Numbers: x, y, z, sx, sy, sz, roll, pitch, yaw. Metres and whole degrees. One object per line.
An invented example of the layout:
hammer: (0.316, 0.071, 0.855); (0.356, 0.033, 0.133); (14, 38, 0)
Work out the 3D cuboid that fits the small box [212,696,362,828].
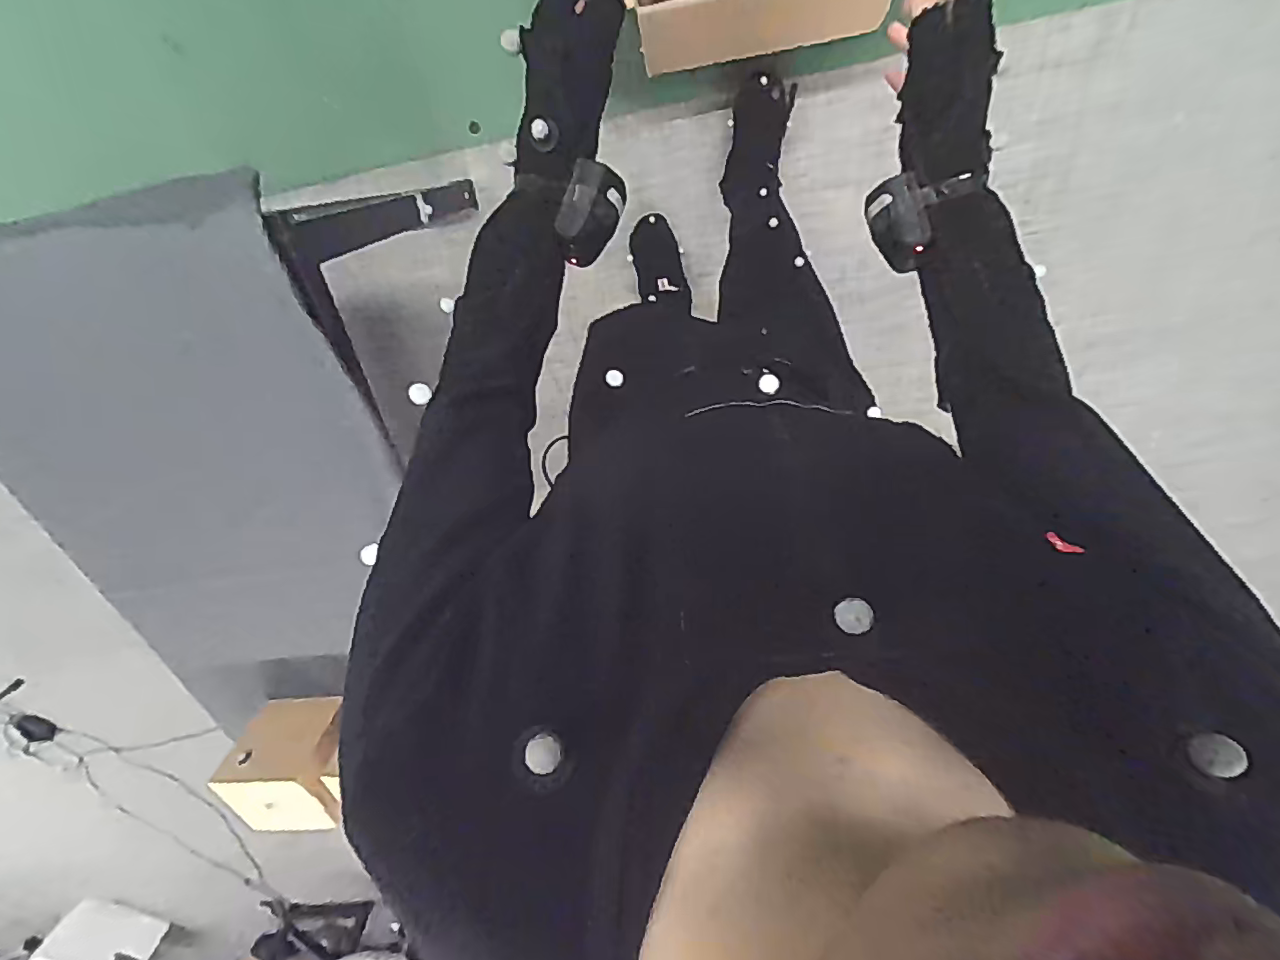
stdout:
small box: (-0.645, 0.537, 1.037); (0.179, 0.176, 0.168); (-5, 122, 7)
